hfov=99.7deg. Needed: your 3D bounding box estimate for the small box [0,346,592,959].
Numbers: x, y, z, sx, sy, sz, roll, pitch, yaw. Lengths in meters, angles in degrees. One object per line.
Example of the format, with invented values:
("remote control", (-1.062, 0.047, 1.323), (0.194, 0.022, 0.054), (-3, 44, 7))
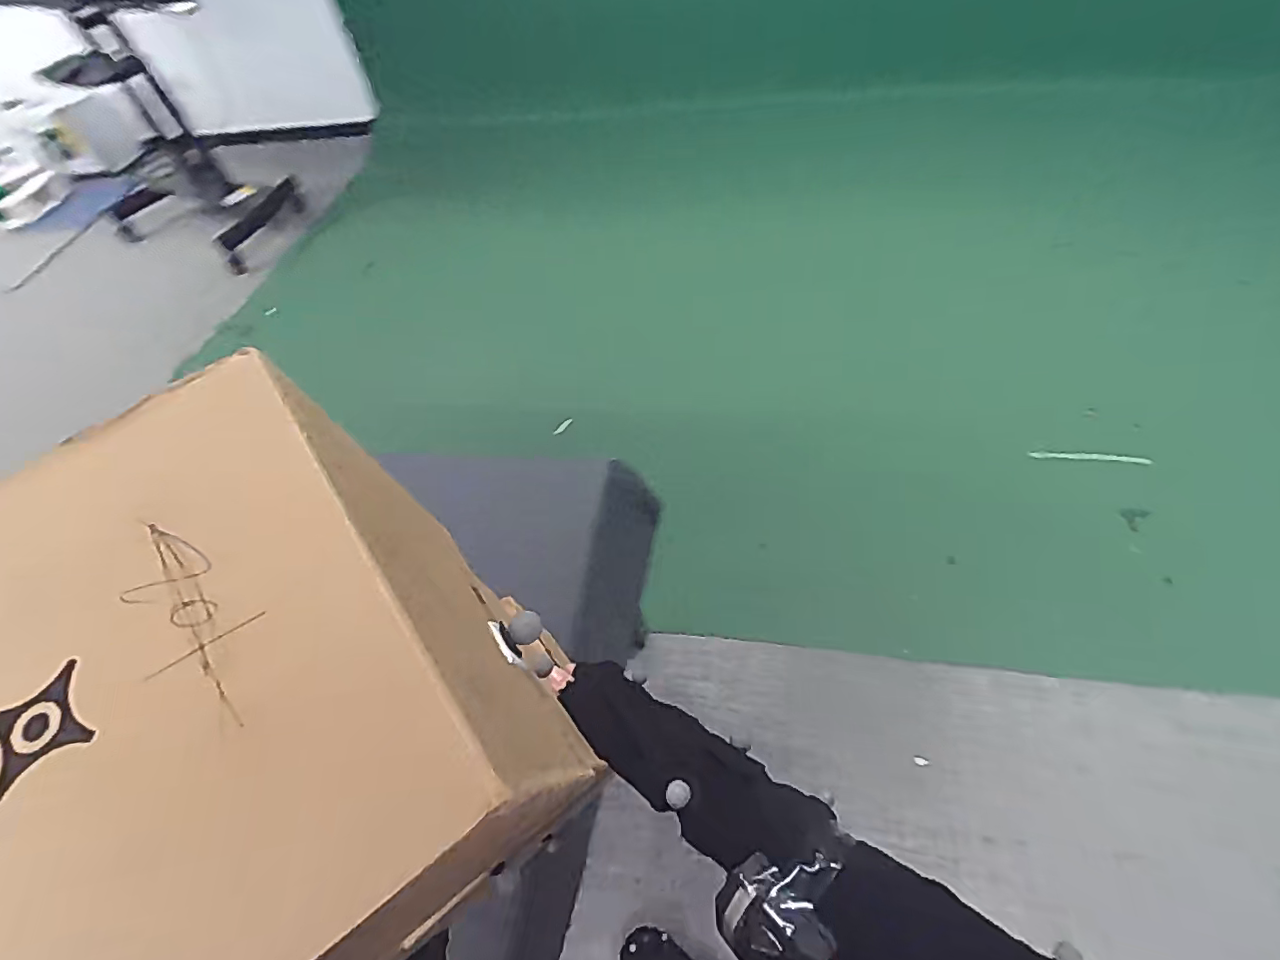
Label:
("small box", (-0.137, 0.094, 0.200), (0.179, 0.176, 0.168), (-35, 68, -13))
